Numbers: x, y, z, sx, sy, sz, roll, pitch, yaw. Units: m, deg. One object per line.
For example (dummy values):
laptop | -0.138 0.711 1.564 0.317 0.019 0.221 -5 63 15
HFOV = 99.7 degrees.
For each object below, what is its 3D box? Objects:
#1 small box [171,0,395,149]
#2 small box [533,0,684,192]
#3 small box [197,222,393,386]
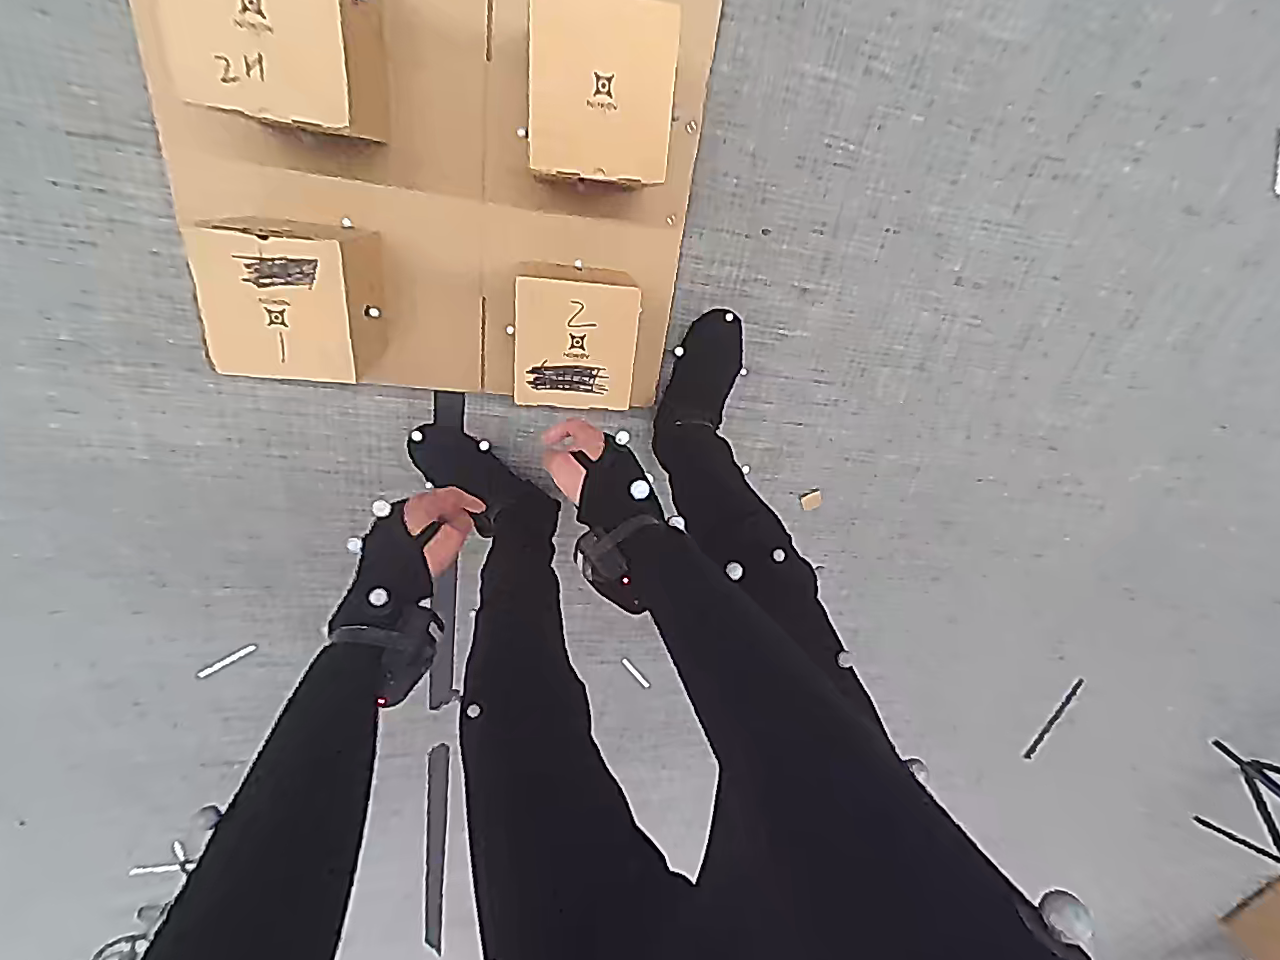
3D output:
small box | -0.385 -0.493 0.609 0.168 0.176 0.179 4 117 -11
small box | -0.051 -0.472 0.686 0.168 0.176 0.179 0 118 -10
small box | -0.446 -0.243 0.732 0.168 0.176 0.179 3 118 -11
